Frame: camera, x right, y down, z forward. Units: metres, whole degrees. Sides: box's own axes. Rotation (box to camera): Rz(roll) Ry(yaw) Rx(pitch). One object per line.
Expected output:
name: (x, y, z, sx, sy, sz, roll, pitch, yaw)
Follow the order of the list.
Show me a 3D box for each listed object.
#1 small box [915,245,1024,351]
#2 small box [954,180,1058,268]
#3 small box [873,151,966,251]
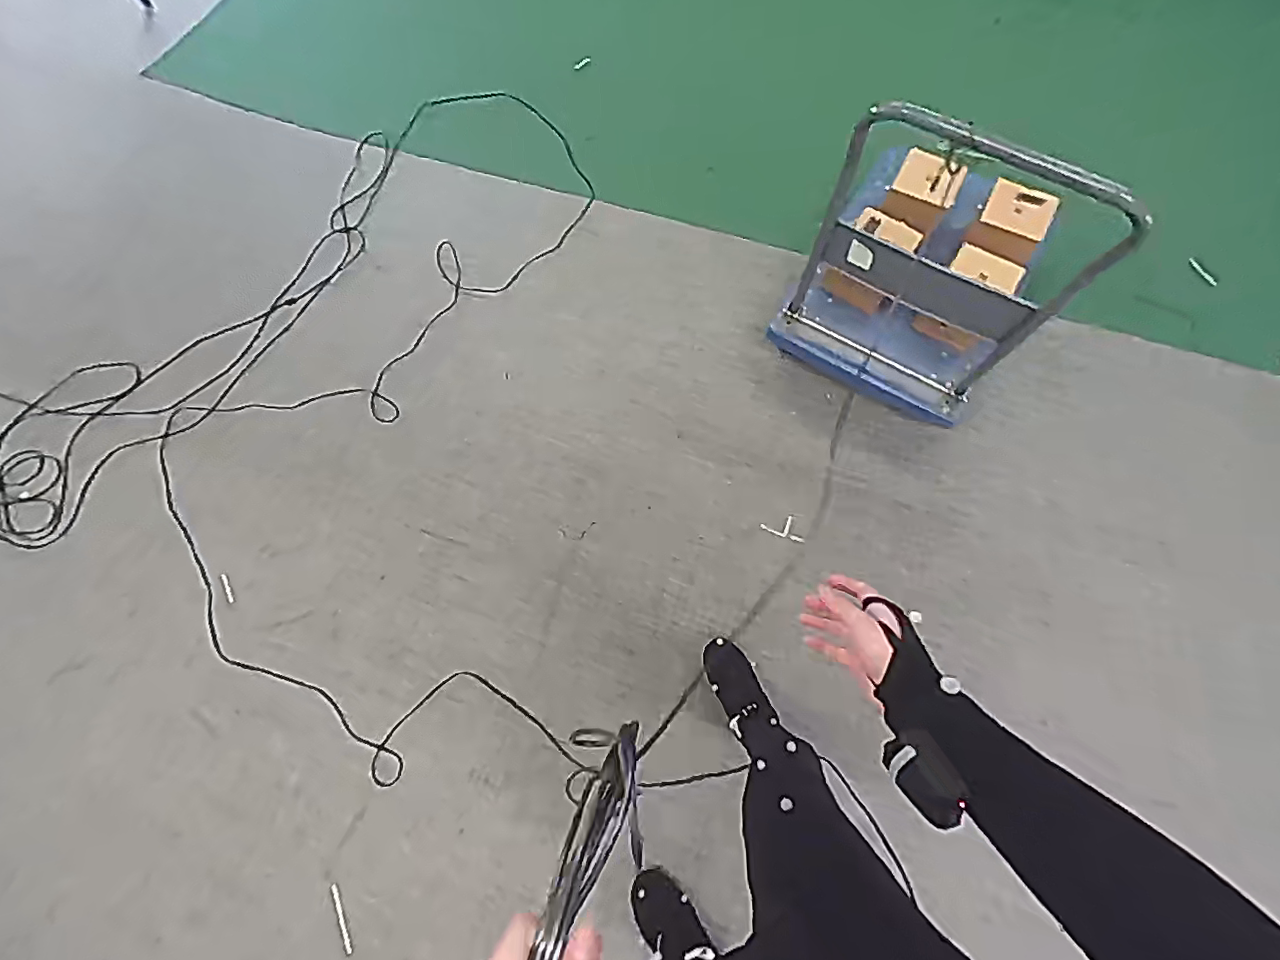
small box: (0.886, -0.489, 1.470, 0.168, 0.176, 0.179, 32, 74, 13)
small box: (1.034, -0.704, 1.543, 0.168, 0.176, 0.179, 27, 74, 13)
small box: (0.815, -0.815, 1.594, 0.168, 0.176, 0.179, 27, 73, 11)
